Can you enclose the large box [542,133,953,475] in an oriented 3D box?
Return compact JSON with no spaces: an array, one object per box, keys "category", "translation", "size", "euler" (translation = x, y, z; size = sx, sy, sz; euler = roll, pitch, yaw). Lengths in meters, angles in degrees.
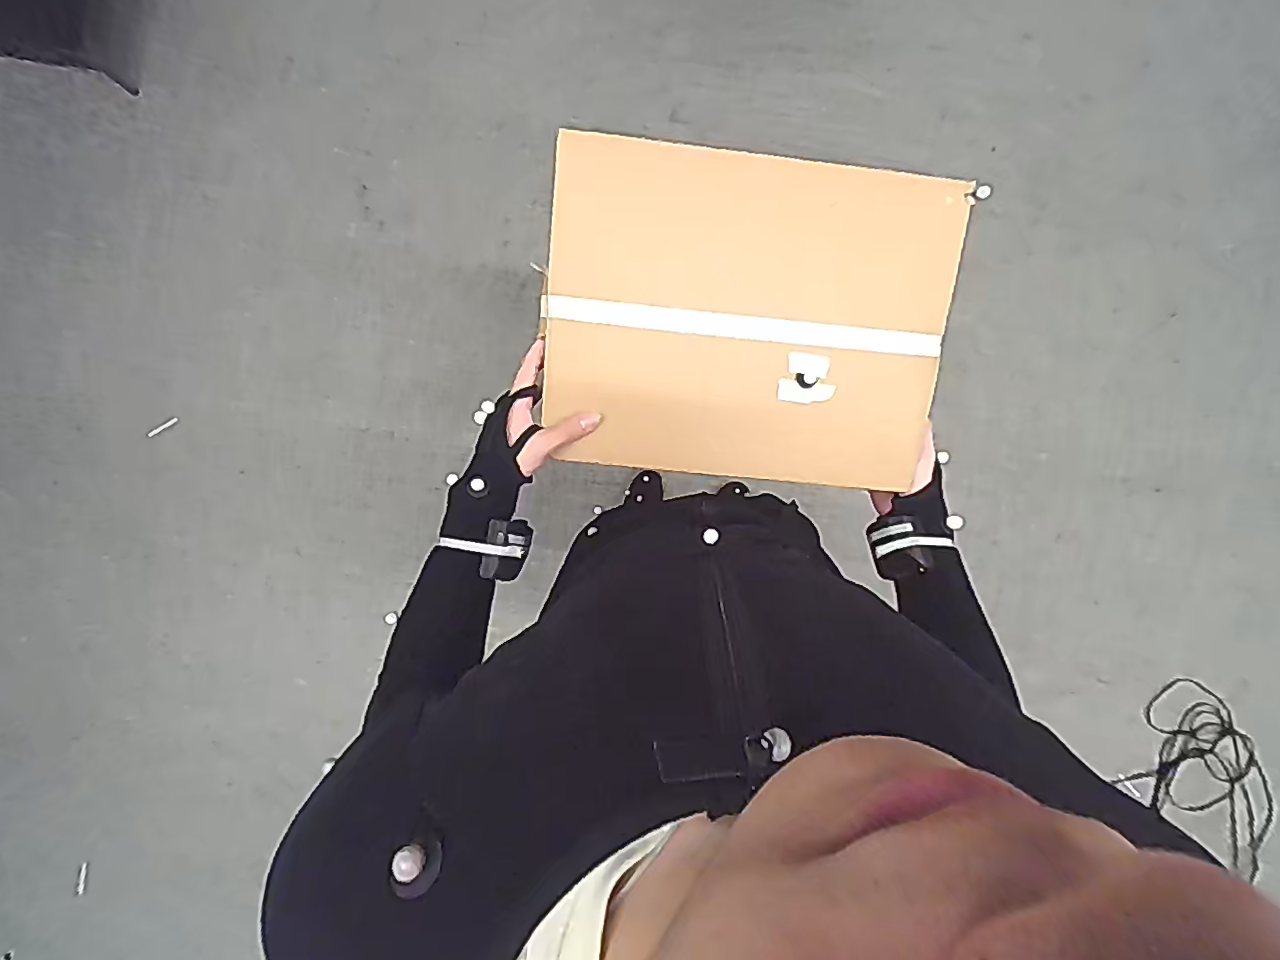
[{"category":"large box","translation":[0.094,-0.199,0.698],"size":[0.408,0.320,0.320],"euler":[5,104,-4]}]
